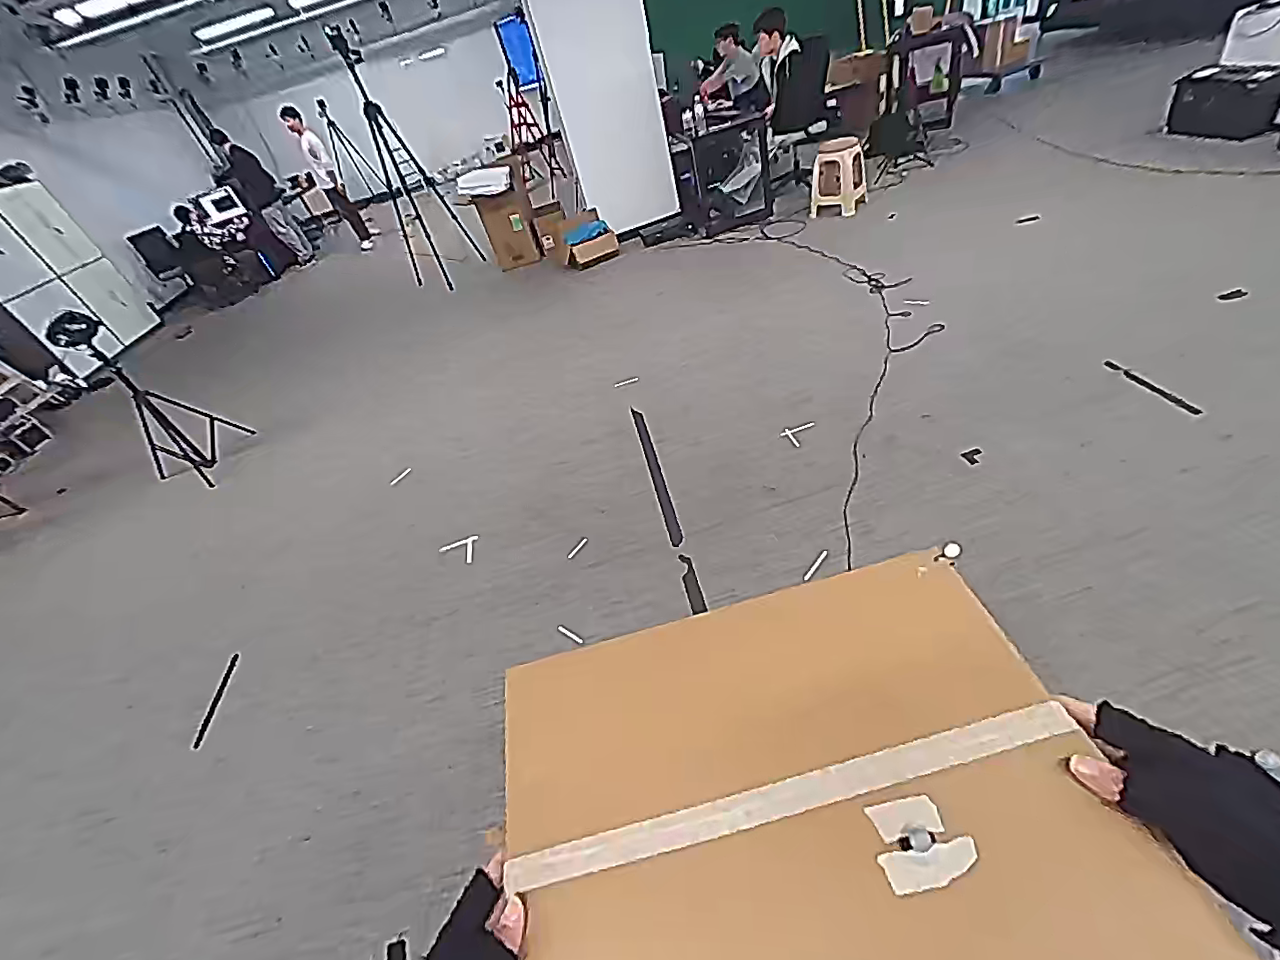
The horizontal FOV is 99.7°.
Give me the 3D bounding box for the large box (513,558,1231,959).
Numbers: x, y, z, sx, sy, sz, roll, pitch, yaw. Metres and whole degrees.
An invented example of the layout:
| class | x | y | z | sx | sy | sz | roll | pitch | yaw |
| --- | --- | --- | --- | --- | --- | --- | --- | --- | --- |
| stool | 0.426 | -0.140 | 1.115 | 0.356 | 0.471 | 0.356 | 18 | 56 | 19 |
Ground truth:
| class | x | y | z | sx | sy | sz | roll | pitch | yaw |
| --- | --- | --- | --- | --- | --- | --- | --- | --- | --- |
| large box | 0.131 | 0.331 | 0.493 | 0.408 | 0.320 | 0.320 | -16 | 45 | -1 |
